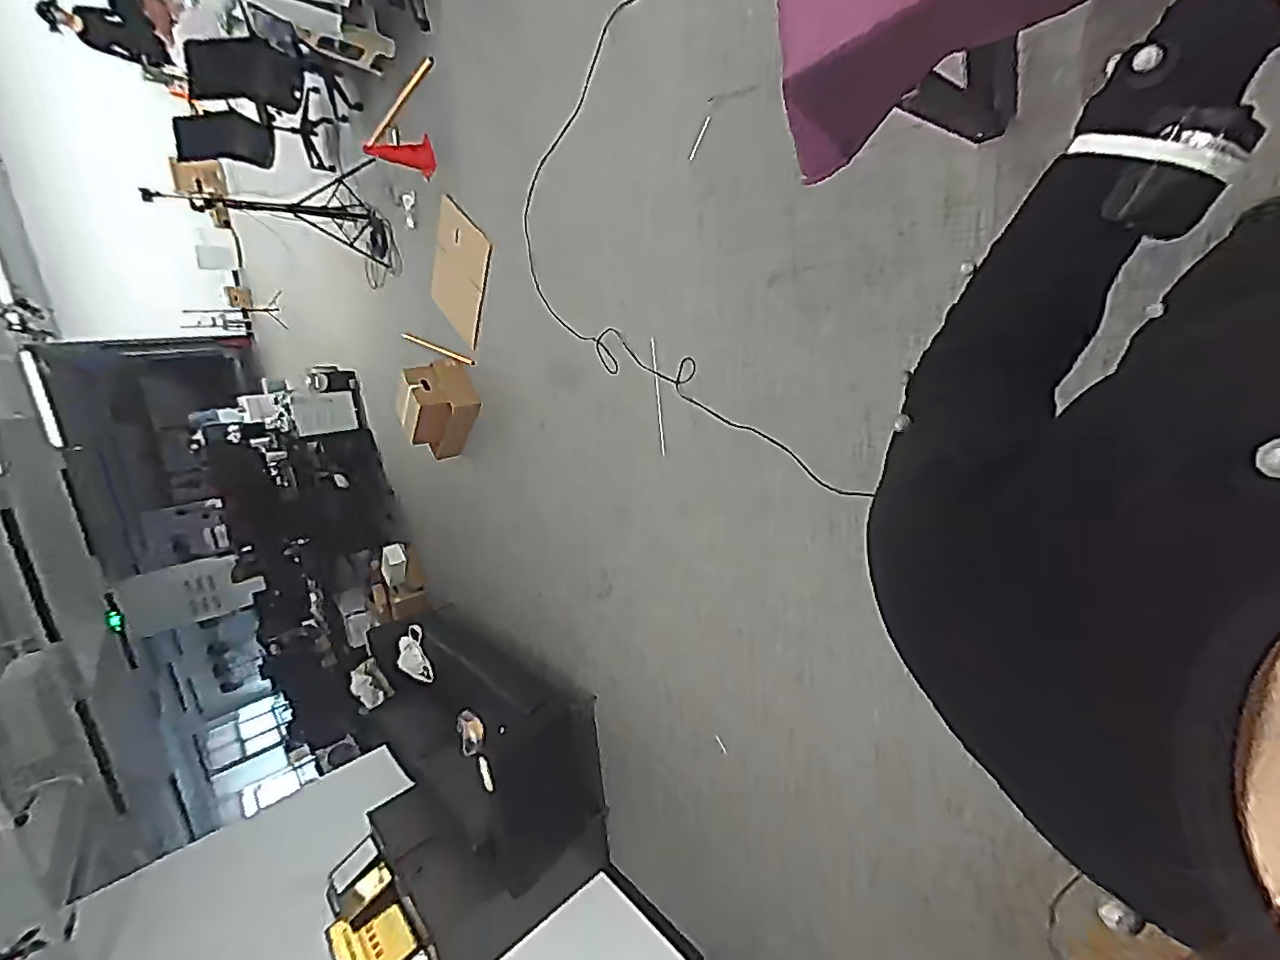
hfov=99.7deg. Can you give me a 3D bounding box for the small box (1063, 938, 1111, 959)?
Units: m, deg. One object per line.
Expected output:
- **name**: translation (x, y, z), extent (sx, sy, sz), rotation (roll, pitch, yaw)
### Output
- **small box**: translation (0.934, 1.101, 1.088), extent (0.168, 0.176, 0.179), rotation (15, 116, 47)
